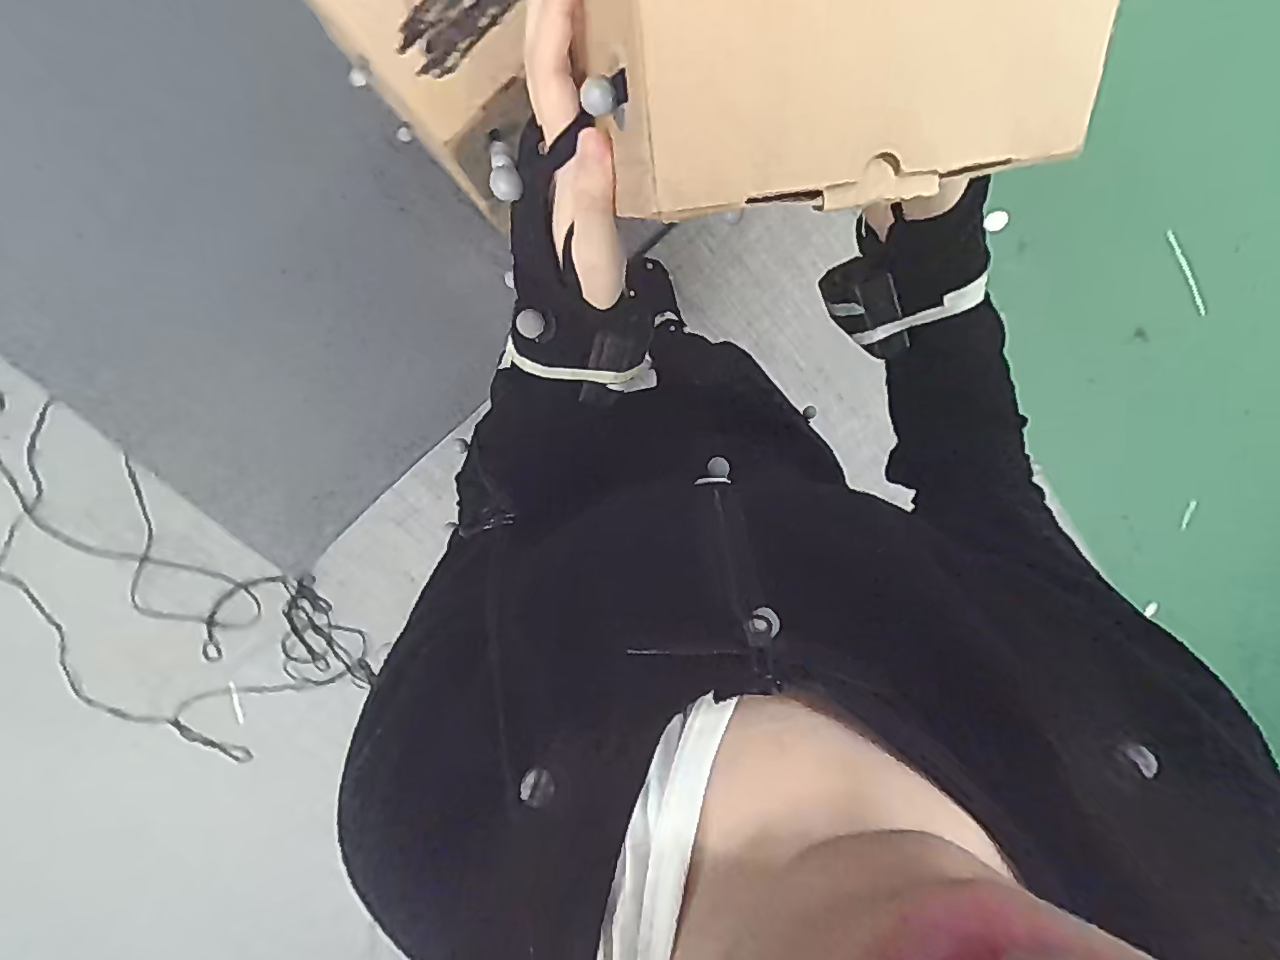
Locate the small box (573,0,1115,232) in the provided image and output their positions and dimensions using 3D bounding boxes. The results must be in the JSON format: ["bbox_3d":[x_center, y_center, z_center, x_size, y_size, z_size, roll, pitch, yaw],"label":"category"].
[{"bbox_3d":[0.062,-0.211,0.230,0.168,0.176,0.179,-12,119,-8],"label":"small box"}]

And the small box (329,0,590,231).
[{"bbox_3d":[-0.149,-0.376,0.530,0.168,0.176,0.179,-43,108,6],"label":"small box"}]
